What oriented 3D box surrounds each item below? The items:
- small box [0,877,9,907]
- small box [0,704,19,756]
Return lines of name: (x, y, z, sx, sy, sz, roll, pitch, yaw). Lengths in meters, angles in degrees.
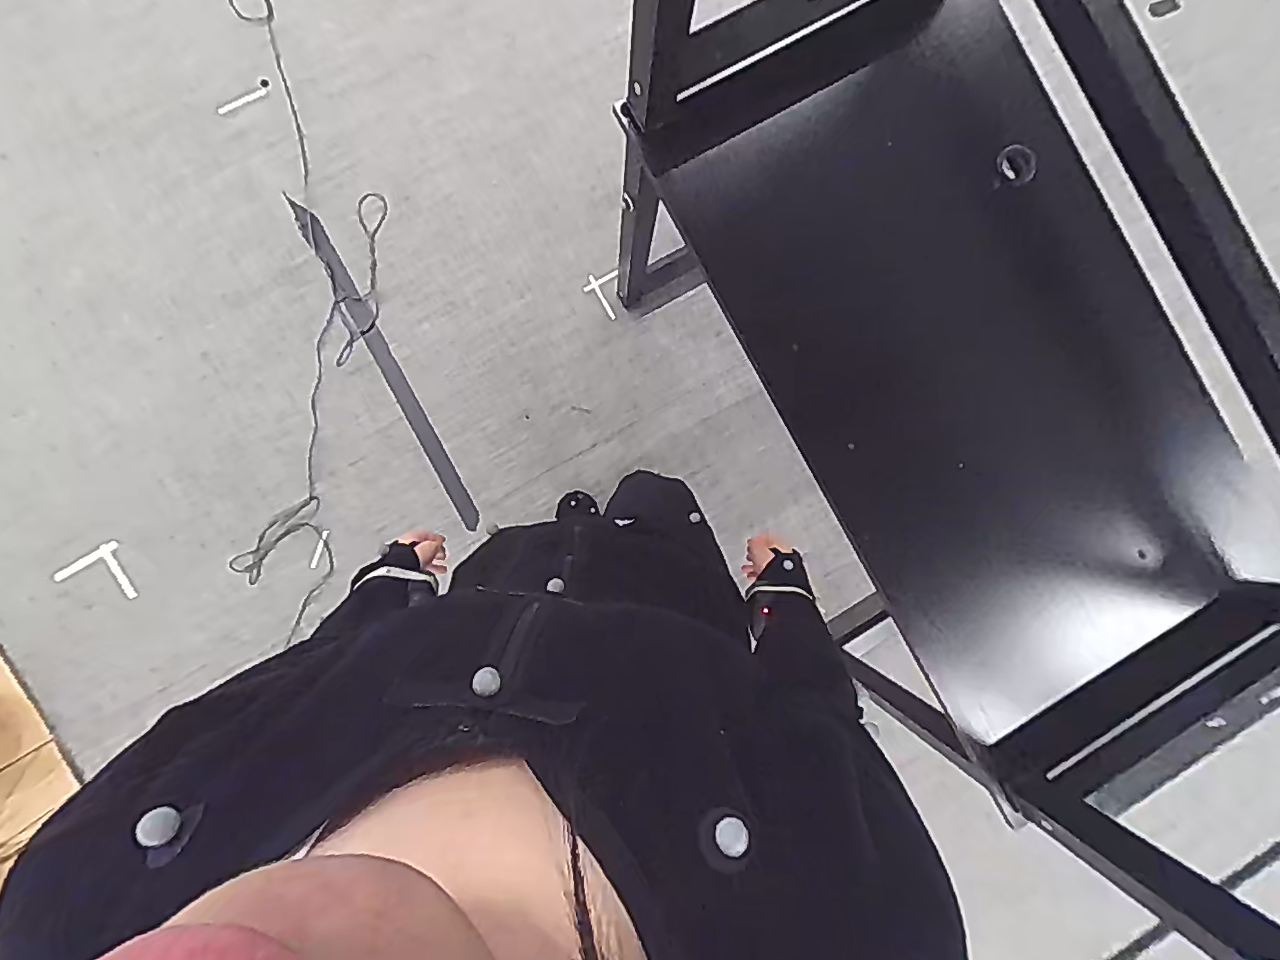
small box: (-1.673, 1.004, 1.271, 0.168, 0.176, 0.179, -21, 92, -5)
small box: (-1.671, 0.638, 1.281, 0.179, 0.176, 0.168, -30, 92, -5)
